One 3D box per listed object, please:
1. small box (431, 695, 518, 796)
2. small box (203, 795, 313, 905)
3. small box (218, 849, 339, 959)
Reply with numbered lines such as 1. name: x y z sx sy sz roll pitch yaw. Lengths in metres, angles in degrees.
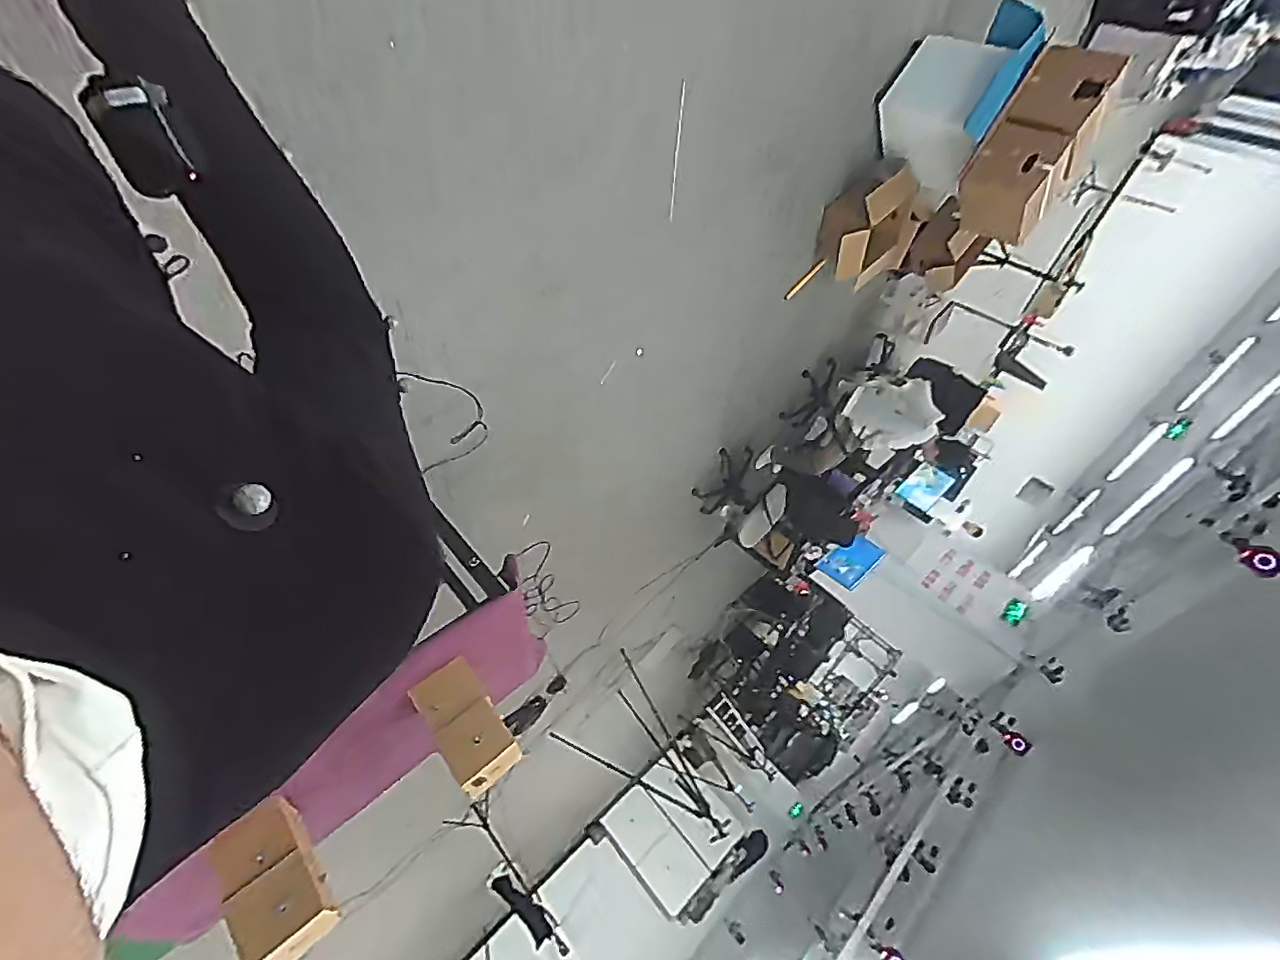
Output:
1. small box: -0.483 0.765 1.566 0.179 0.176 0.168 -35 149 -29
2. small box: -0.996 0.971 1.407 0.179 0.176 0.168 -31 147 -35
3. small box: -0.881 1.055 1.325 0.179 0.176 0.168 -32 147 -36
